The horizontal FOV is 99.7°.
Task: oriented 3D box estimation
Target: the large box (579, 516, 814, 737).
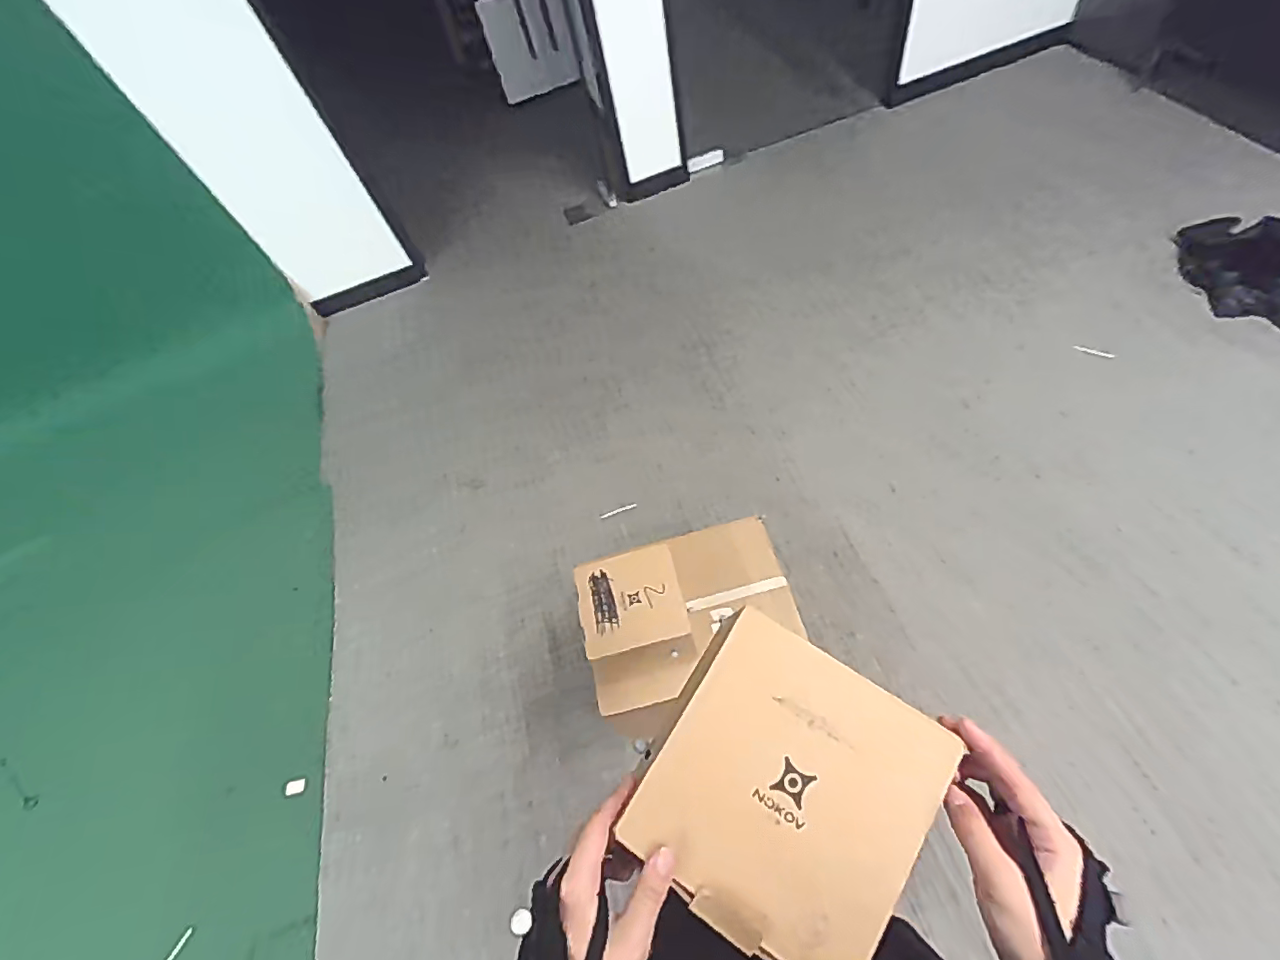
[{"bbox_3d":[0.115,0.330,1.177,0.408,0.320,0.320,-15,57,1],"label":"large box"}]
